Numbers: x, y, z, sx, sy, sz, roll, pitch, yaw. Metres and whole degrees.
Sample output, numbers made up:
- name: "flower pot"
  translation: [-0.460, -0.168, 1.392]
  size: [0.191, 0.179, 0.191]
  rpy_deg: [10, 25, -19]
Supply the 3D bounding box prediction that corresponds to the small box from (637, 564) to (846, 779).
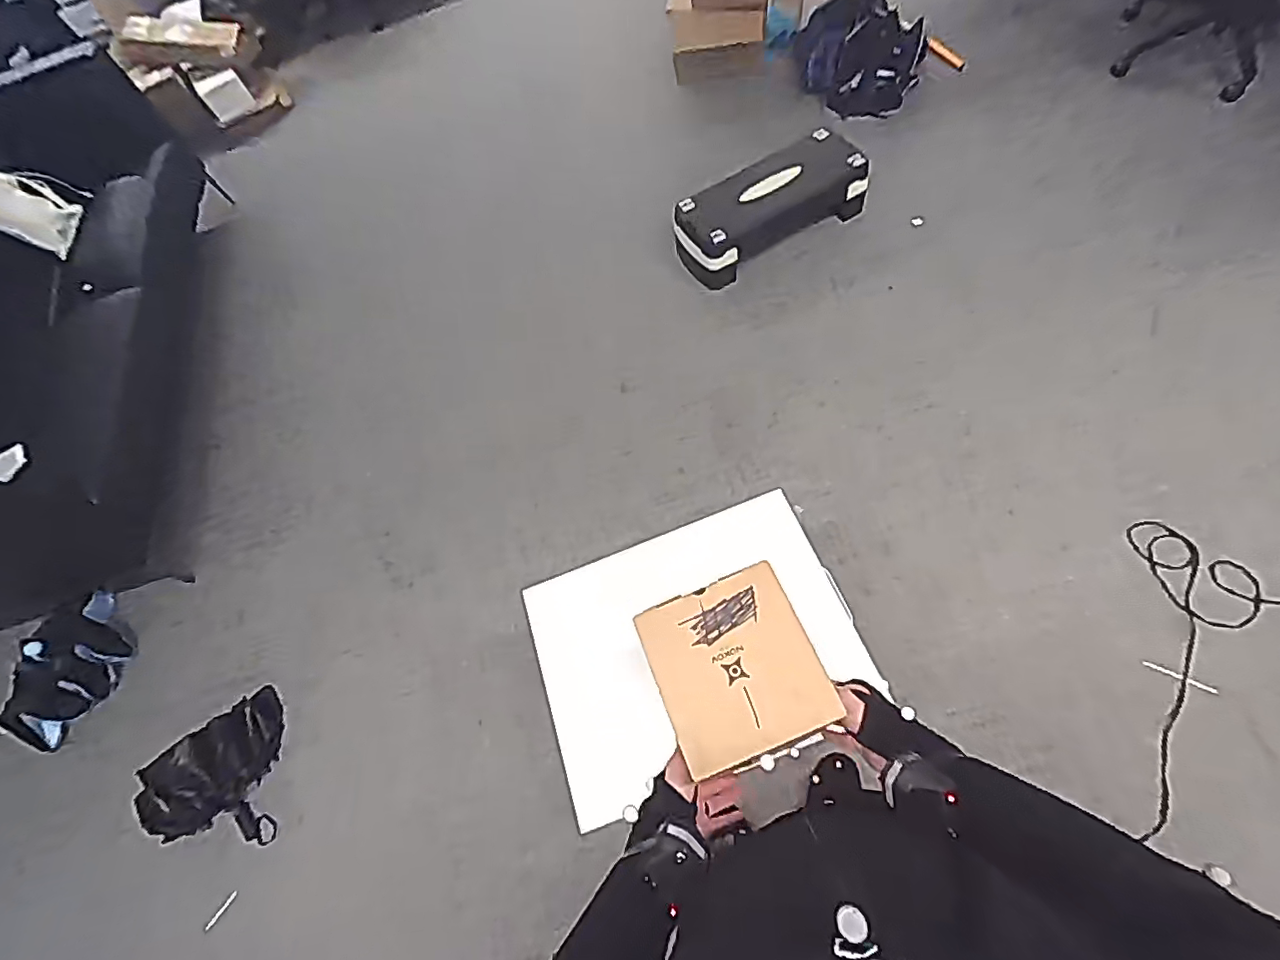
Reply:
- name: "small box"
  translation: [0.111, 0.229, 0.635]
  size: [0.168, 0.176, 0.179]
  rpy_deg: [-23, 61, -1]
